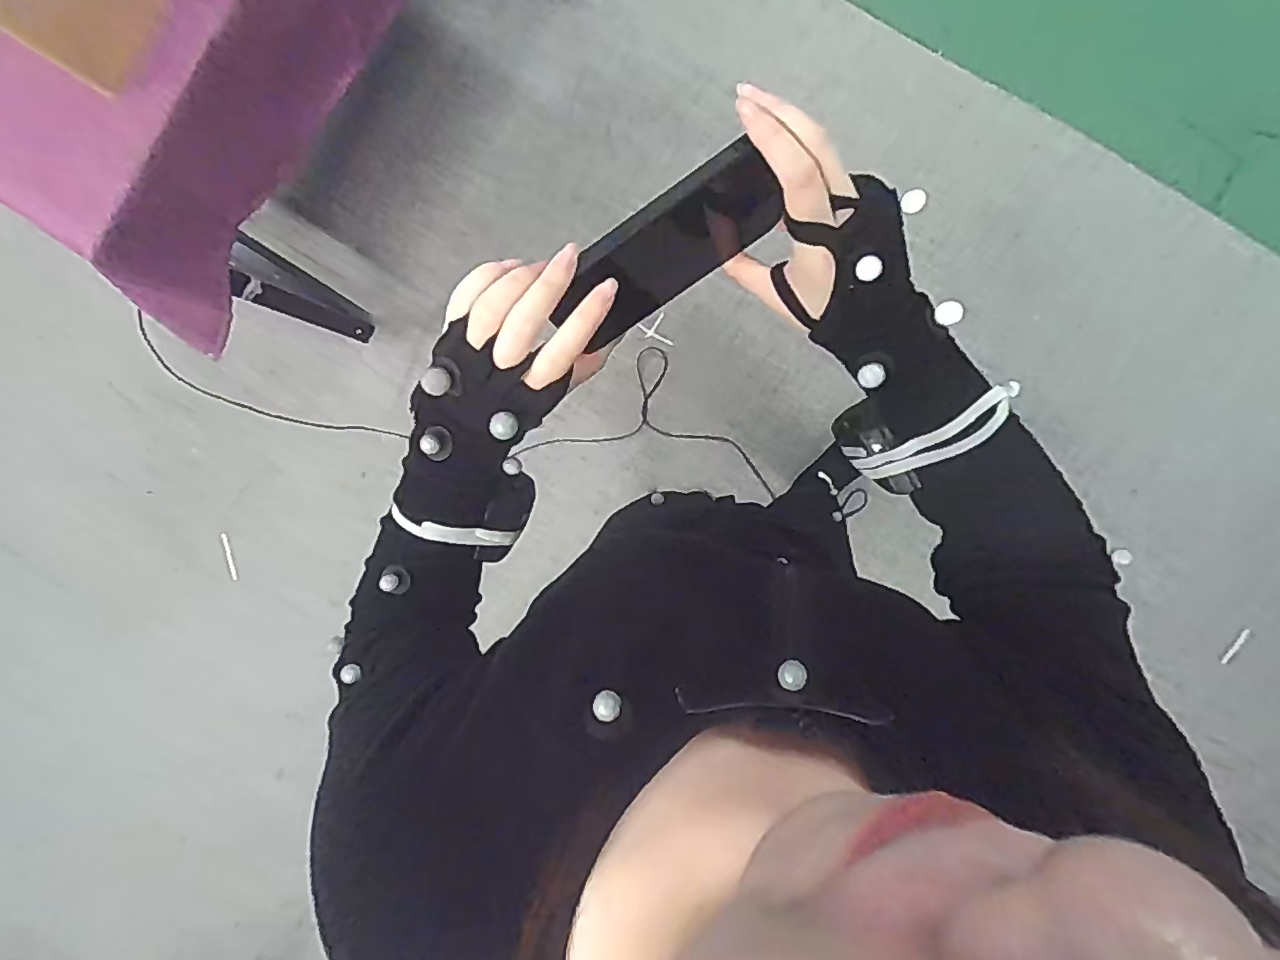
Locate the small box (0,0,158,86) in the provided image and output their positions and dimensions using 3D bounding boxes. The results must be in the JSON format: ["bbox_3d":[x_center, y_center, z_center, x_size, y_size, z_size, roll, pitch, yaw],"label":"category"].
[{"bbox_3d":[-0.816,-0.690,0.723,0.168,0.176,0.179,35,93,2],"label":"small box"}]
